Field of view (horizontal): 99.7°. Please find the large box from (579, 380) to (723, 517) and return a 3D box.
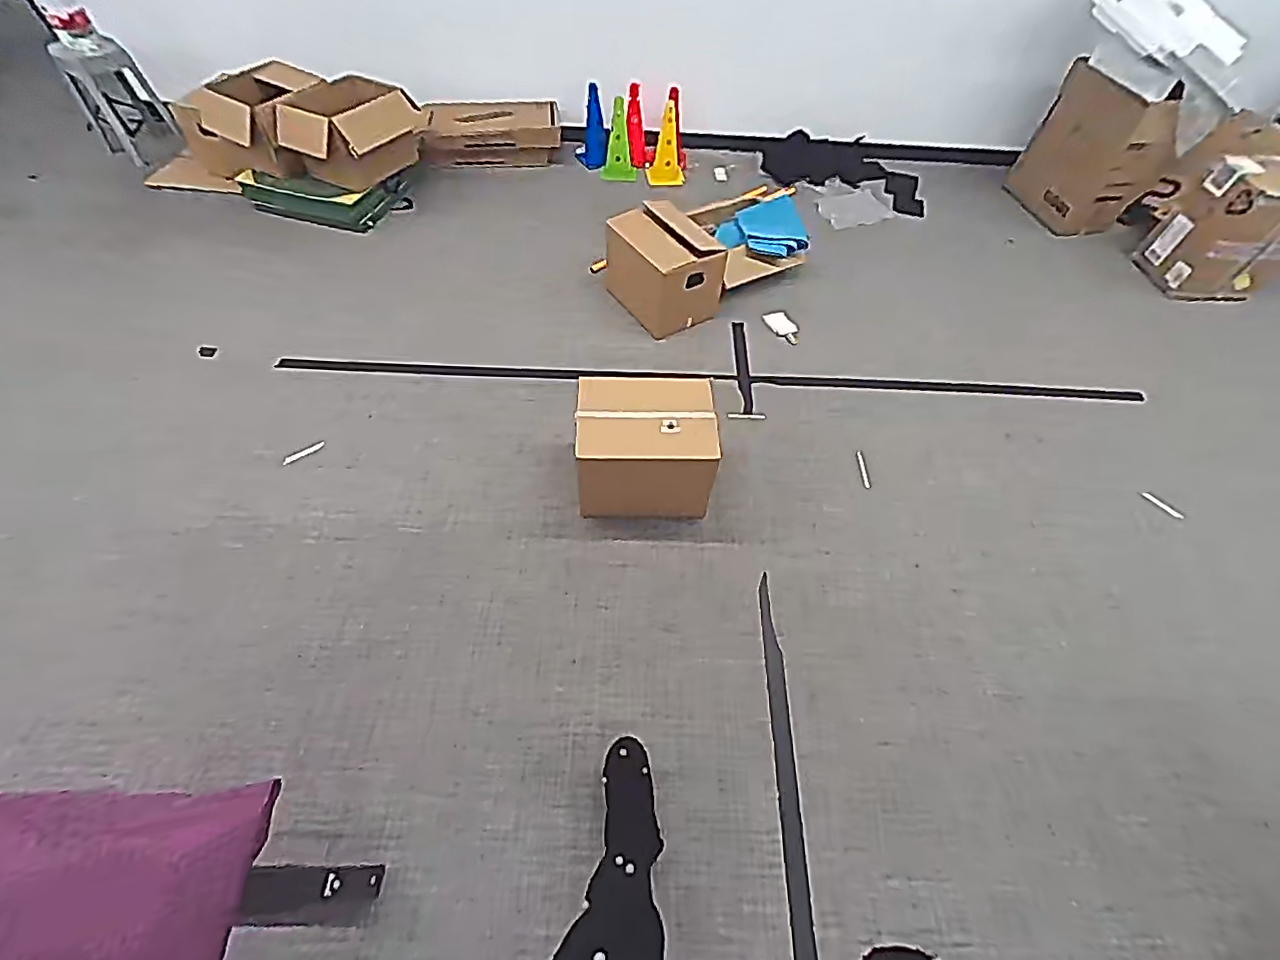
[{"bbox_3d":[0.016,-0.092,1.675,0.408,0.320,0.320,0,55,-4],"label":"large box"}]
